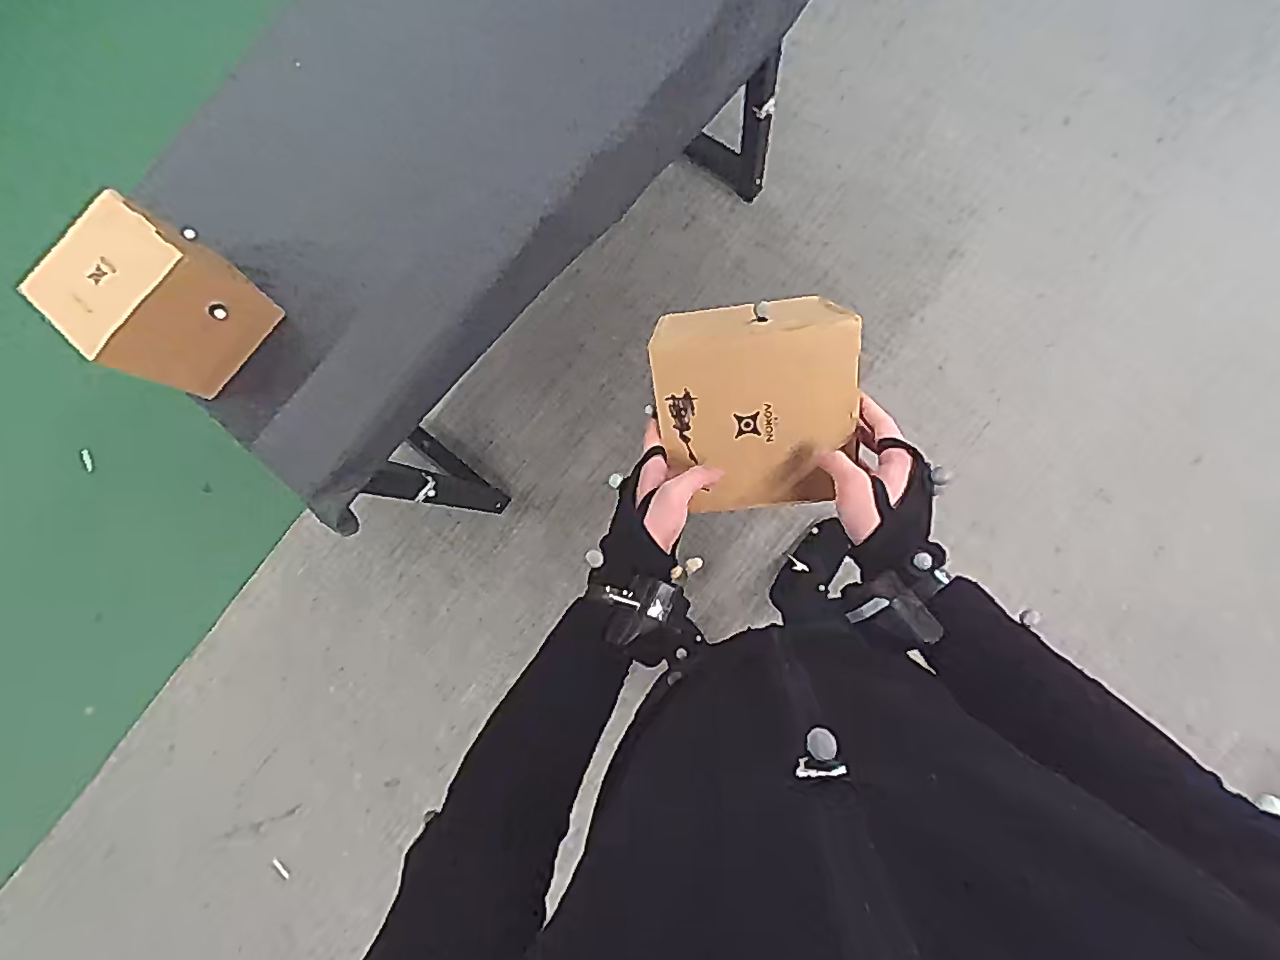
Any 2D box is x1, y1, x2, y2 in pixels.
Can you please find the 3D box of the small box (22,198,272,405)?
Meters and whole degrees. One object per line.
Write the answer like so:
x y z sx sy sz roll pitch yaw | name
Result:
-0.661 -0.236 0.753 0.168 0.176 0.179 41 88 13 | small box

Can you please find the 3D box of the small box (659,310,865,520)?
0.114 -0.075 0.559 0.179 0.176 0.168 -5 113 6 | small box
